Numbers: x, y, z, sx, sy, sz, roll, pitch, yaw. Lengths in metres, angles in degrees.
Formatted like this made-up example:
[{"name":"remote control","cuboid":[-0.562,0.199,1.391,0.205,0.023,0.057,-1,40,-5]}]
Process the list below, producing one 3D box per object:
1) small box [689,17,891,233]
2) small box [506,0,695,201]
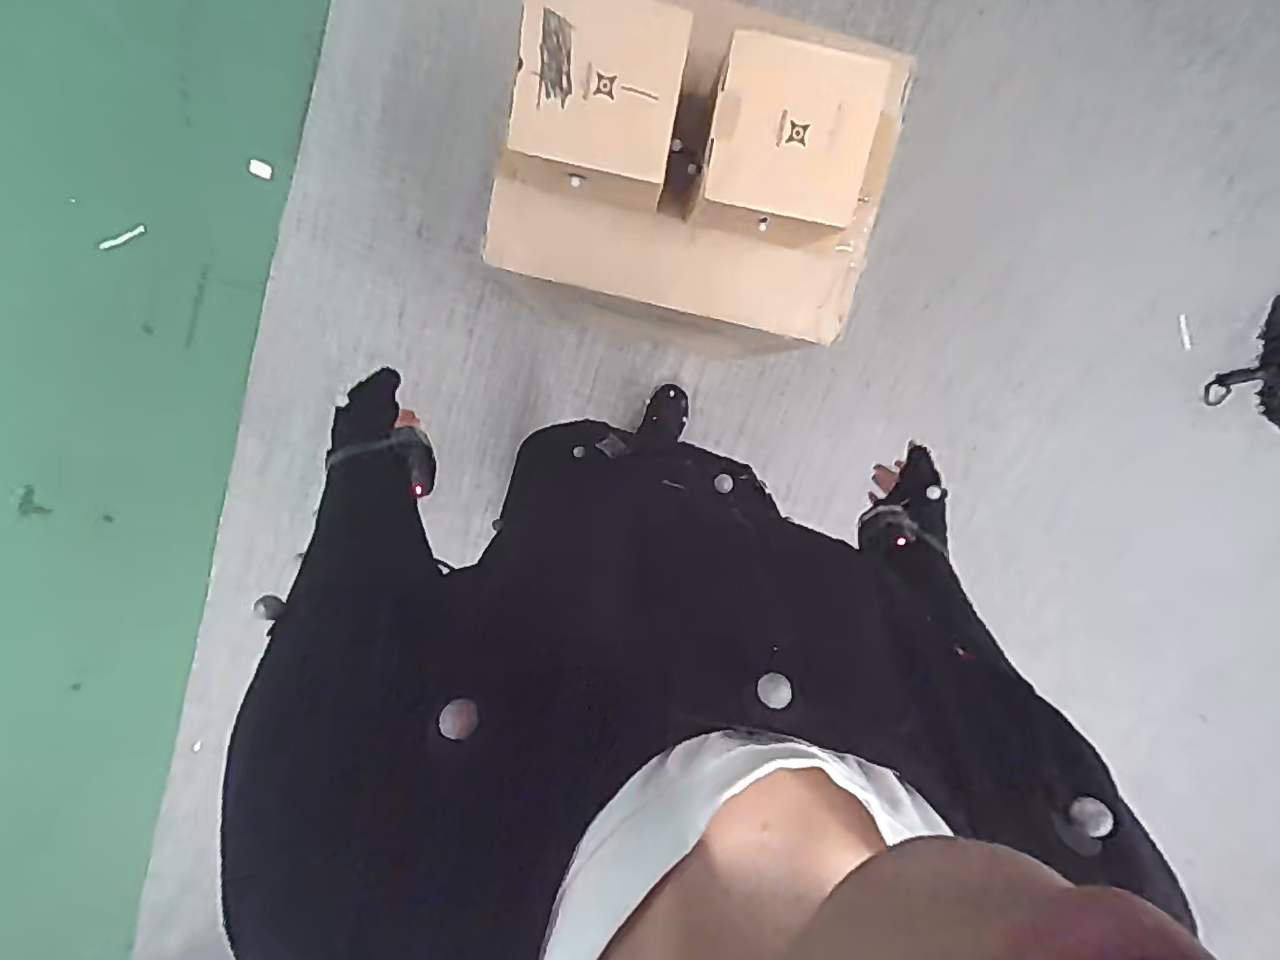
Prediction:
[{"name":"small box","cuboid":[0.164,-0.412,0.662,0.179,0.176,0.168,8,107,-5]},{"name":"small box","cuboid":[-0.046,-0.449,0.643,0.179,0.176,0.168,10,106,-5]}]
